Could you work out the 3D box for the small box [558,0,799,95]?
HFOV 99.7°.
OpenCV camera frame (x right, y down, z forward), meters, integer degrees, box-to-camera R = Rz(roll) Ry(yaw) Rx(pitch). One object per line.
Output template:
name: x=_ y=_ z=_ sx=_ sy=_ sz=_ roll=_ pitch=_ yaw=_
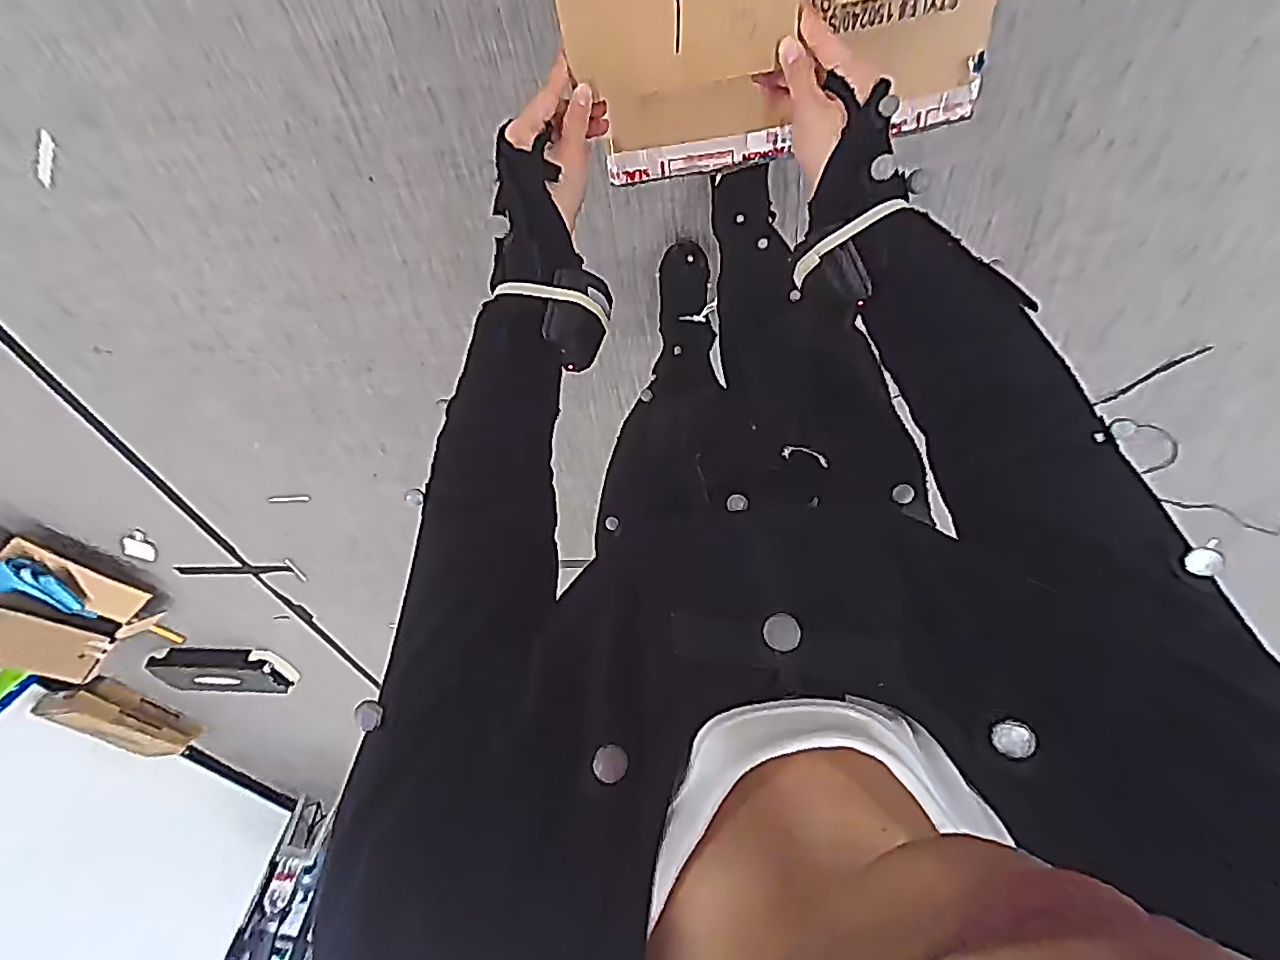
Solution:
small box: x=0.019 y=-0.411 z=0.389 sx=0.168 sy=0.176 sz=0.179 roll=-6 pitch=137 yaw=6
